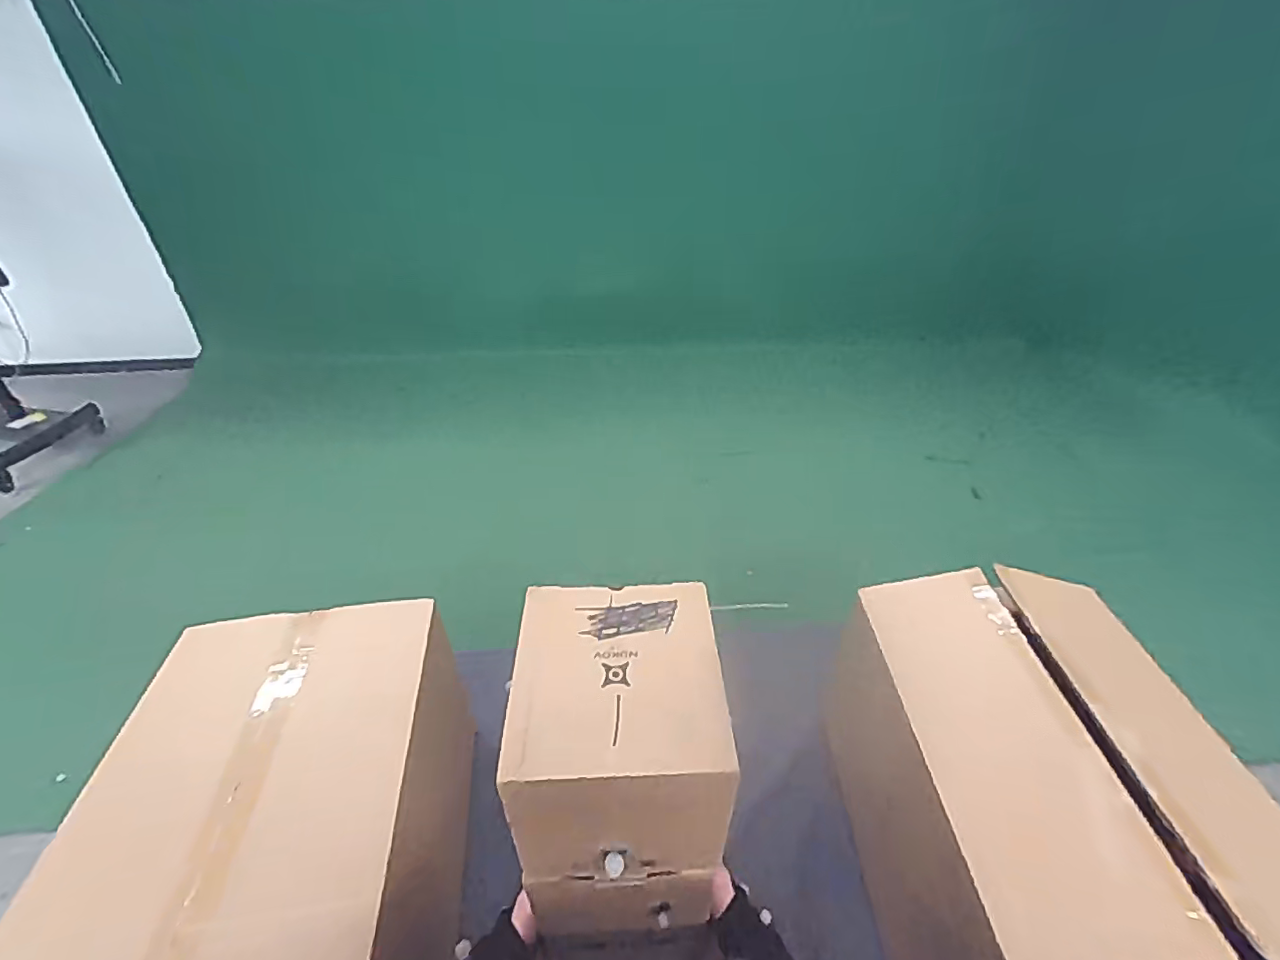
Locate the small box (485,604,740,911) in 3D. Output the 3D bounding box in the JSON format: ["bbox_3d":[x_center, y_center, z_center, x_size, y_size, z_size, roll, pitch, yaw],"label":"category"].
[{"bbox_3d":[-0.020,0.227,0.455,0.168,0.176,0.179,-2,38,-2],"label":"small box"}]

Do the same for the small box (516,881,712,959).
[{"bbox_3d":[-0.023,0.359,0.552,0.168,0.176,0.179,-2,35,-3],"label":"small box"}]
